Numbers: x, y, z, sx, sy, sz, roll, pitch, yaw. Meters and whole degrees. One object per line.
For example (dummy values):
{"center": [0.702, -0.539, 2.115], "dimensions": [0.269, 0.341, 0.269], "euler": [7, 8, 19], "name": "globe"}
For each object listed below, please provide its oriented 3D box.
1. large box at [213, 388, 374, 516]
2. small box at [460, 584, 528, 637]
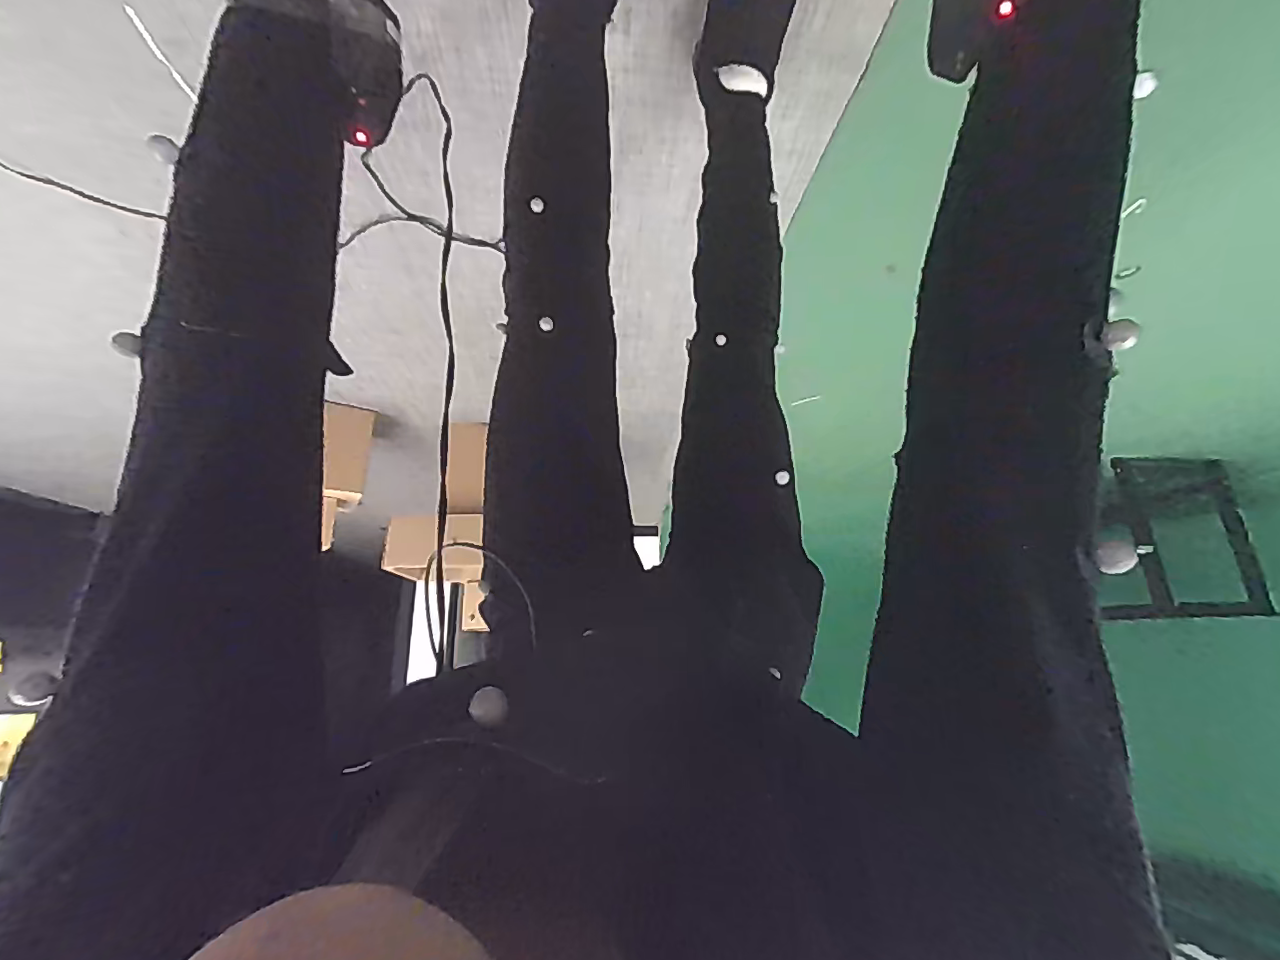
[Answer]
{"center": [-1.179, -0.080, 1.864], "dimensions": [0.408, 0.320, 0.320], "euler": [12, 158, -33], "name": "large box"}
{"center": [-0.516, 0.472, 1.939], "dimensions": [0.179, 0.176, 0.168], "euler": [-10, 161, 23], "name": "small box"}
